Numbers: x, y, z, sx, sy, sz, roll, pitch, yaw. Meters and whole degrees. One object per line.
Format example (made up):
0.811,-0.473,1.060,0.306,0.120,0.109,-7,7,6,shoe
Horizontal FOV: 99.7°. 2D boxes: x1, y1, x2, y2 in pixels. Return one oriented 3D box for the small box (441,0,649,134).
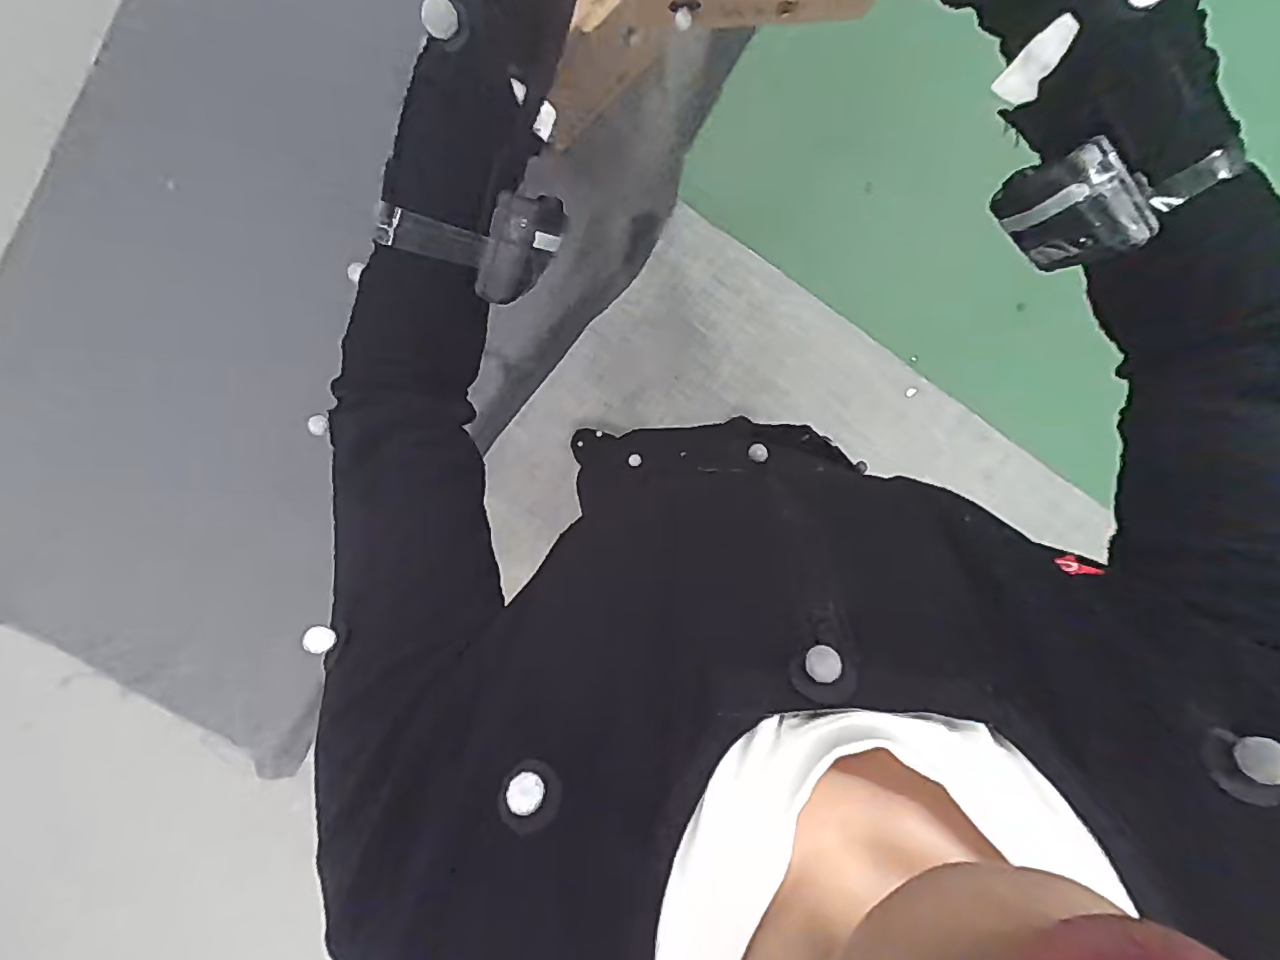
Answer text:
-0.101,-0.514,0.577,0.168,0.176,0.179,-43,94,5,small box
